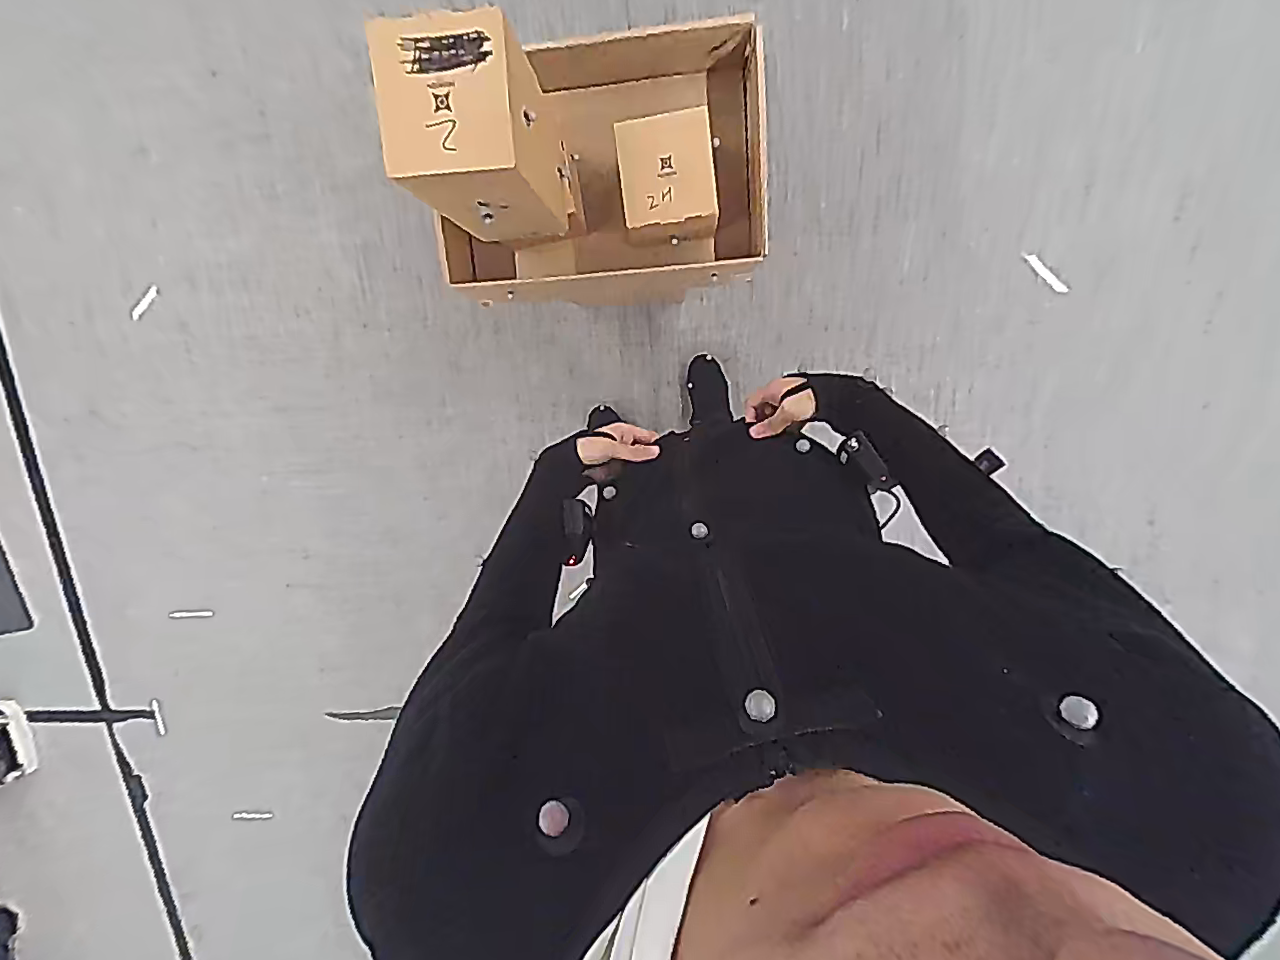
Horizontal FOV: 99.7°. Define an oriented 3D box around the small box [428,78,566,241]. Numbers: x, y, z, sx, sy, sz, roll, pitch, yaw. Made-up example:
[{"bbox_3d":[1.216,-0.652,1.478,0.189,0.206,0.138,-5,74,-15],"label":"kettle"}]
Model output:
[{"bbox_3d":[-0.223,-0.510,0.884,0.168,0.176,0.179,-3,100,5],"label":"small box"}]
